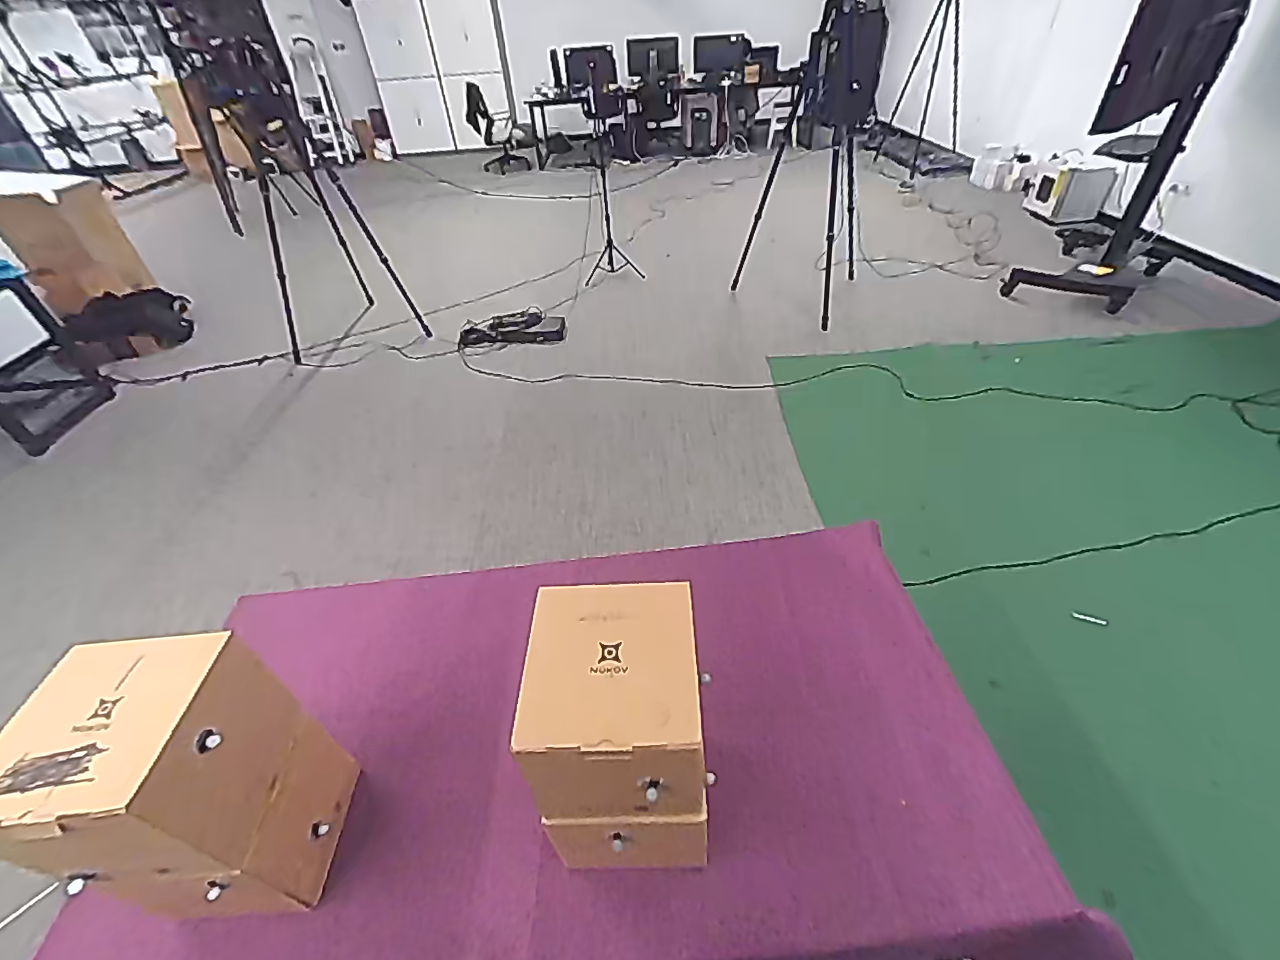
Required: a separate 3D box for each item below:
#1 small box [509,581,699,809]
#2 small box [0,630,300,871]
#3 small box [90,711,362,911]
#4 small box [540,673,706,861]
[{"bbox_3d":[-0.025,0.230,0.575,0.168,0.176,0.179,-3,40,3],"label":"small box"},{"bbox_3d":[-0.500,0.286,0.568,0.168,0.176,0.179,-5,40,-1],"label":"small box"},{"bbox_3d":[-0.486,0.412,0.672,0.179,0.176,0.168,-5,41,0],"label":"small box"},{"bbox_3d":[-0.011,0.358,0.675,0.179,0.176,0.168,-3,42,4],"label":"small box"}]
